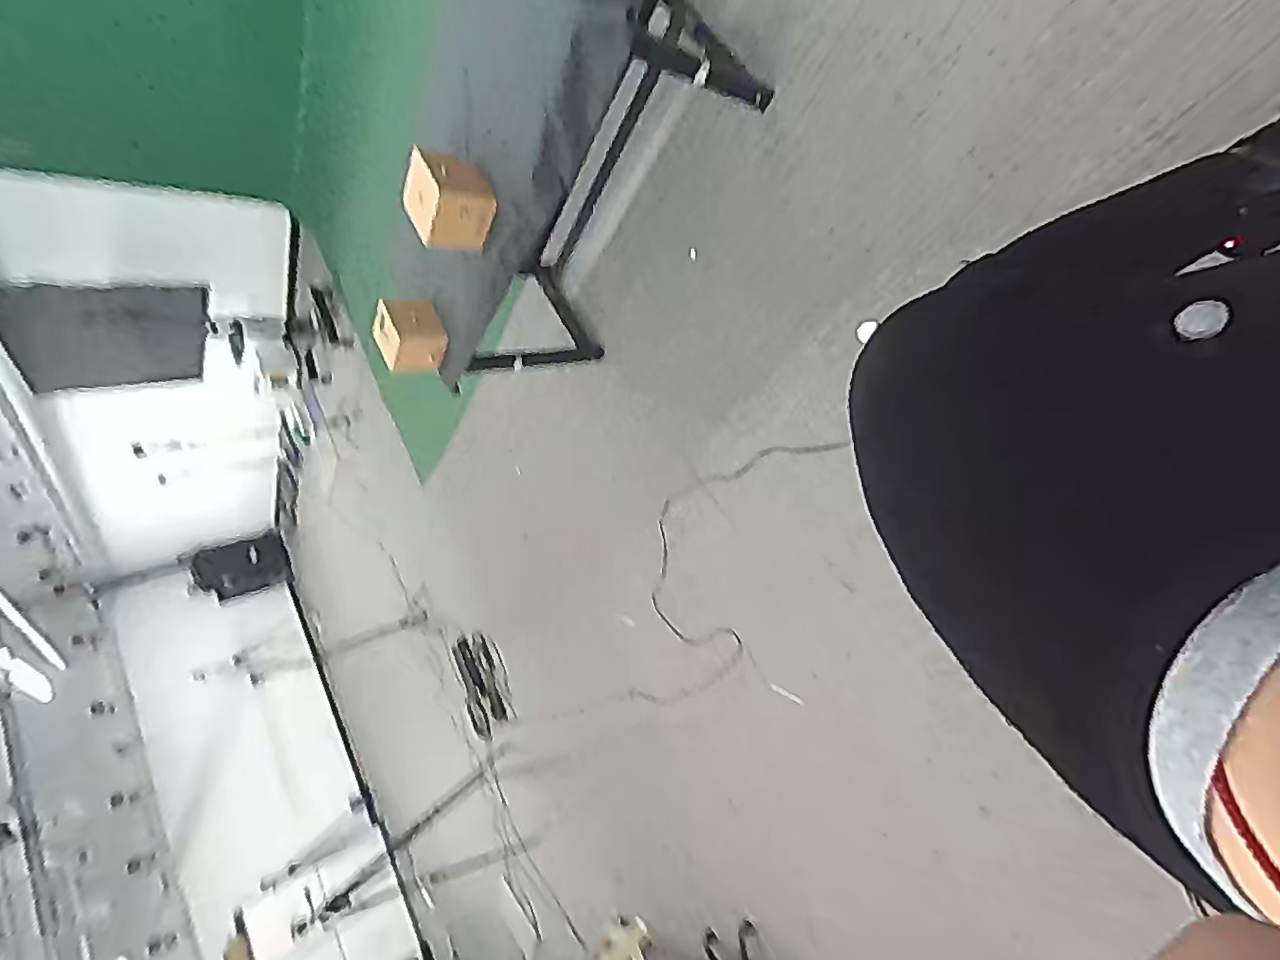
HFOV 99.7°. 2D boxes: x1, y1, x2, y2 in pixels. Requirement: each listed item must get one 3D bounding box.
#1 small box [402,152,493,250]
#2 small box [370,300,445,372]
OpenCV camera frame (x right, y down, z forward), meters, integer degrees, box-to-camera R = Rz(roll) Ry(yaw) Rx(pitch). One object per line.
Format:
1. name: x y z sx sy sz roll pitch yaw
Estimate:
1. small box: -0.528 -0.758 1.488 0.168 0.176 0.179 -46 66 43
2. small box: -0.794 -0.490 1.849 0.168 0.176 0.179 -45 68 44
